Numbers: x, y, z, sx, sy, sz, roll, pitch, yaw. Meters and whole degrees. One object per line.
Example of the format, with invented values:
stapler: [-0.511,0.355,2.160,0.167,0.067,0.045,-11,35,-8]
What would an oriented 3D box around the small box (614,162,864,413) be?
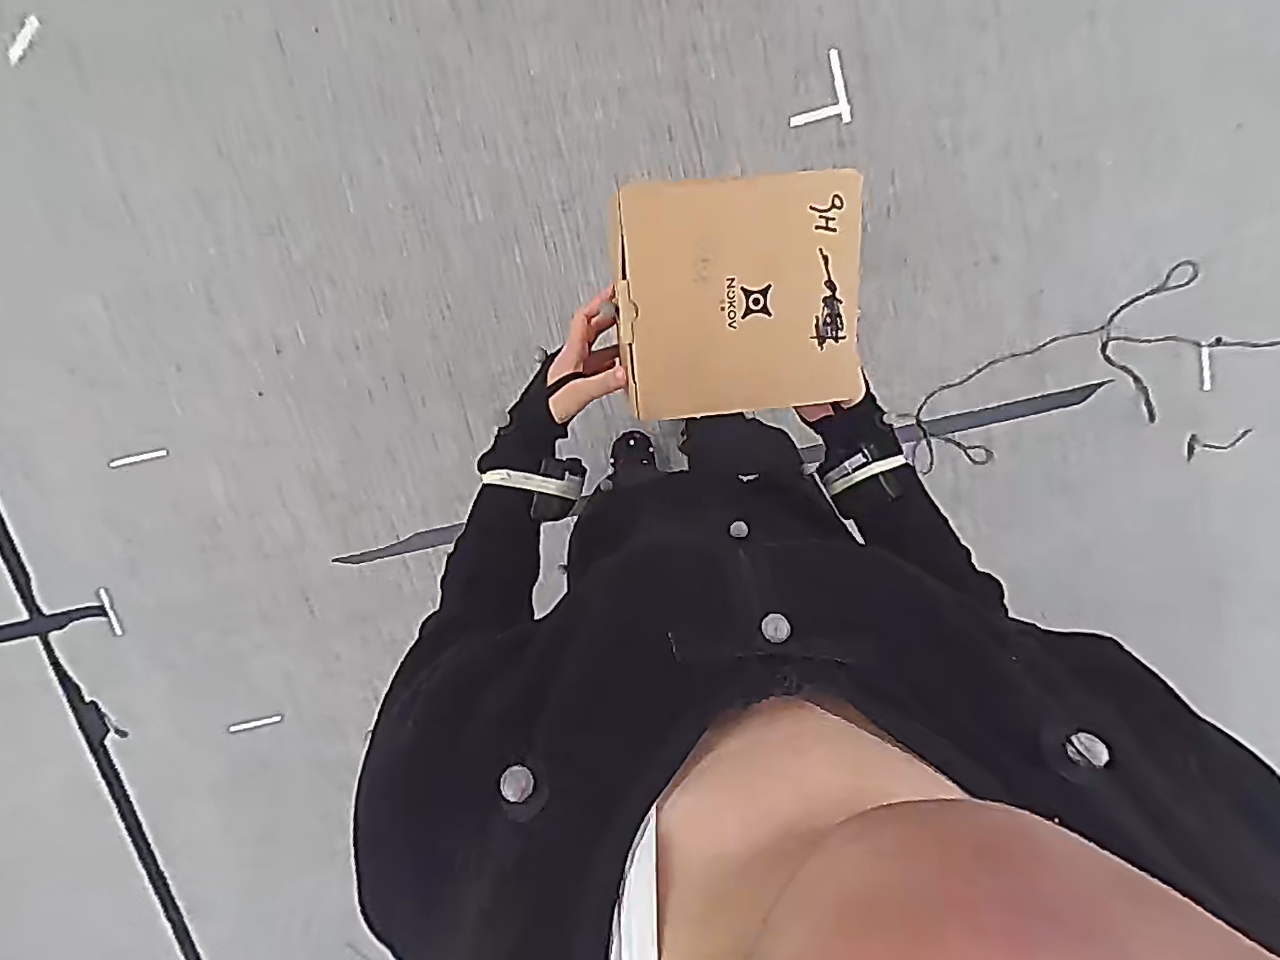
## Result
small box: [0.070,-0.159,0.471,0.179,0.176,0.168,-6,108,-3]
